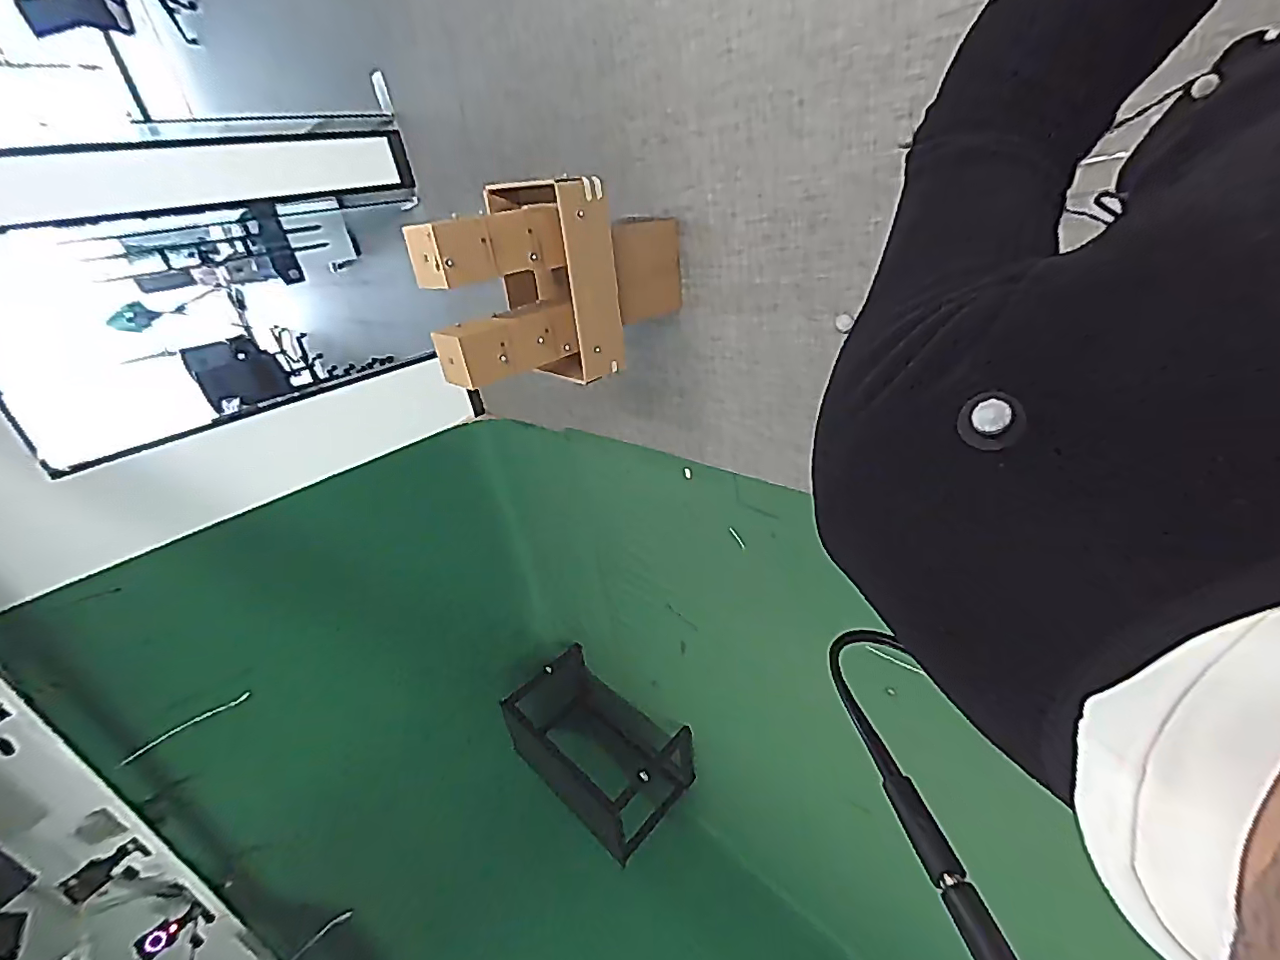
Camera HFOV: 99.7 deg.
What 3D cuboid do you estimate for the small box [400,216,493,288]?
[{"bbox_3d":[-0.547,-0.648,1.537,0.179,0.176,0.168,19,128,41],"label":"small box"}]

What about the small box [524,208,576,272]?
[{"bbox_3d":[-0.329,-0.779,1.746,0.179,0.176,0.168,23,130,37],"label":"small box"}]

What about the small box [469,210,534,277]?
[{"bbox_3d":[-0.438,-0.717,1.639,0.179,0.176,0.168,19,127,41],"label":"small box"}]

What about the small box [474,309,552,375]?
[{"bbox_3d":[-0.417,-0.461,1.786,0.179,0.176,0.168,20,129,41],"label":"small box"}]

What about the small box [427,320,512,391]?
[{"bbox_3d":[-0.528,-0.395,1.687,0.179,0.176,0.168,21,130,40],"label":"small box"}]
